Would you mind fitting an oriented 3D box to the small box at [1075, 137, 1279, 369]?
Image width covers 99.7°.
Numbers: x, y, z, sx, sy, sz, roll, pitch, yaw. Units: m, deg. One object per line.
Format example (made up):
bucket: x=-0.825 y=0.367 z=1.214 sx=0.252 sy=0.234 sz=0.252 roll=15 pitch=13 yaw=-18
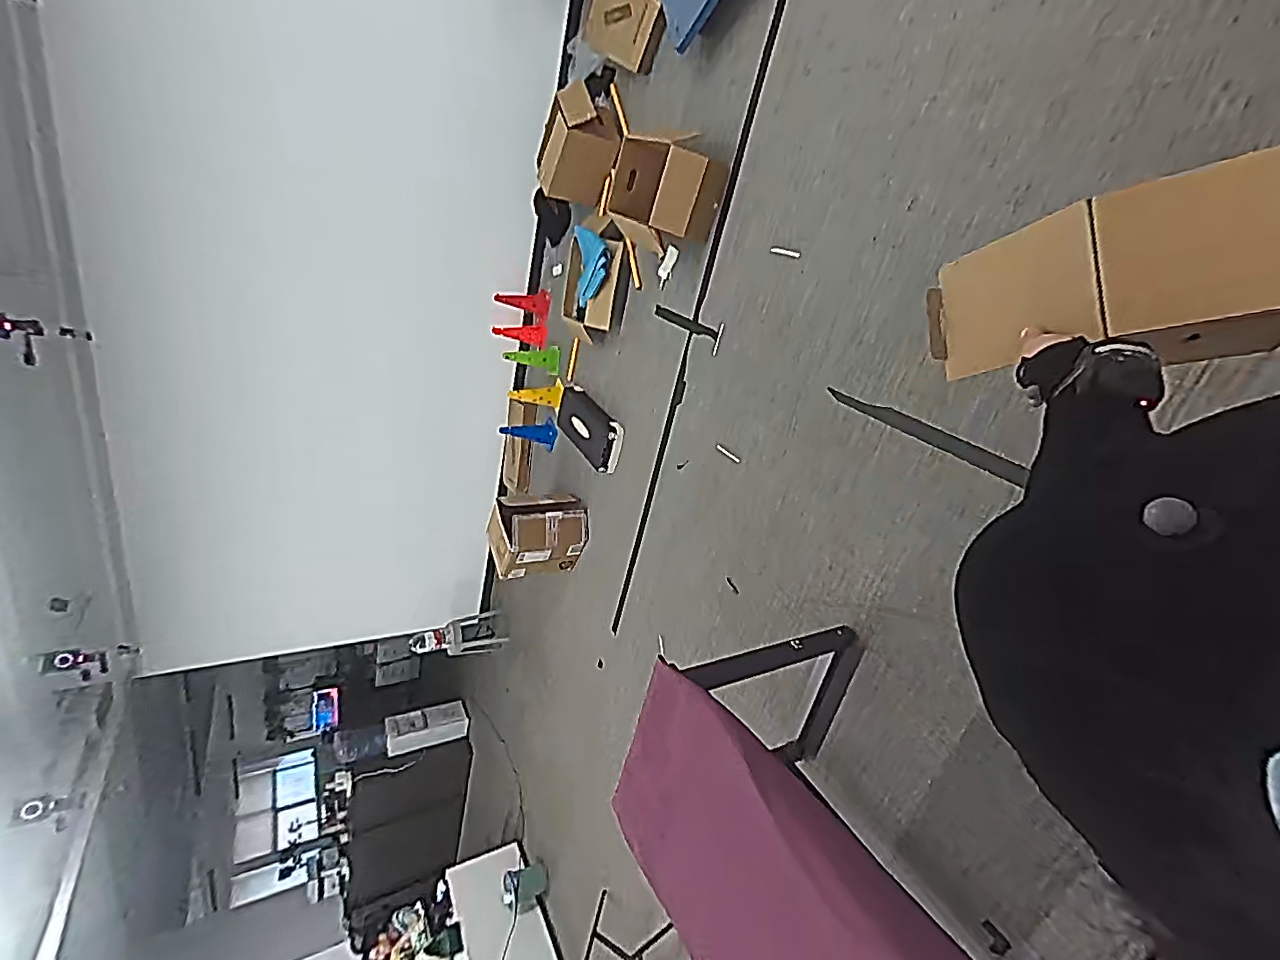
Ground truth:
small box: x=0.602 y=-0.232 z=0.598 sx=0.179 sy=0.176 sz=0.168 roll=-5 pitch=84 yaw=33
